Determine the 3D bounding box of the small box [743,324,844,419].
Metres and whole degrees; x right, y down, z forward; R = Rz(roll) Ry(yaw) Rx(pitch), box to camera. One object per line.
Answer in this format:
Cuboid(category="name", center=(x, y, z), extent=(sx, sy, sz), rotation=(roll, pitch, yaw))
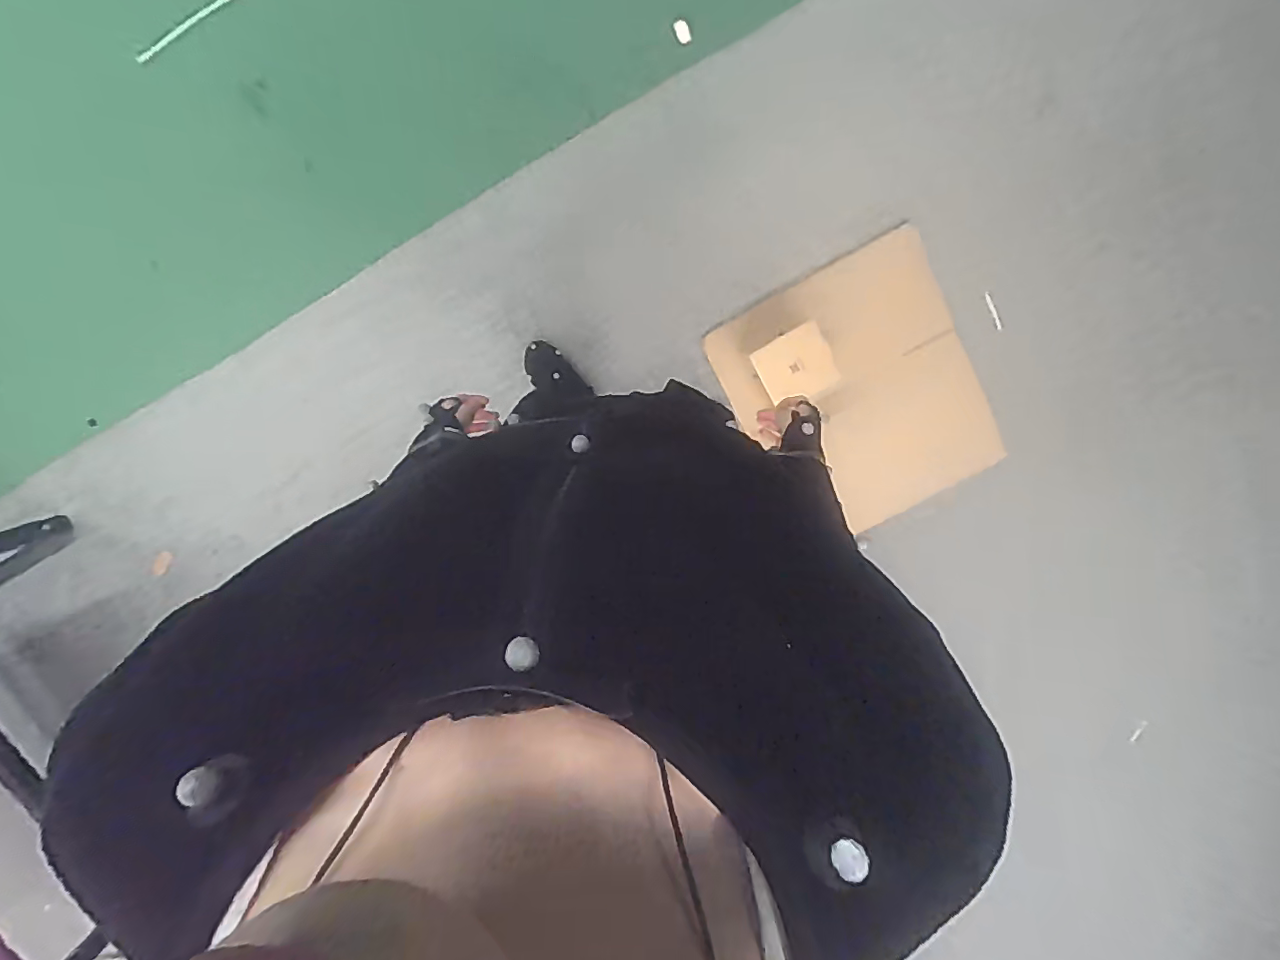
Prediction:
Cuboid(category="small box", center=(0.374, -0.272, 1.358), extent=(0.179, 0.176, 0.168), rotation=(-30, 101, 6))
